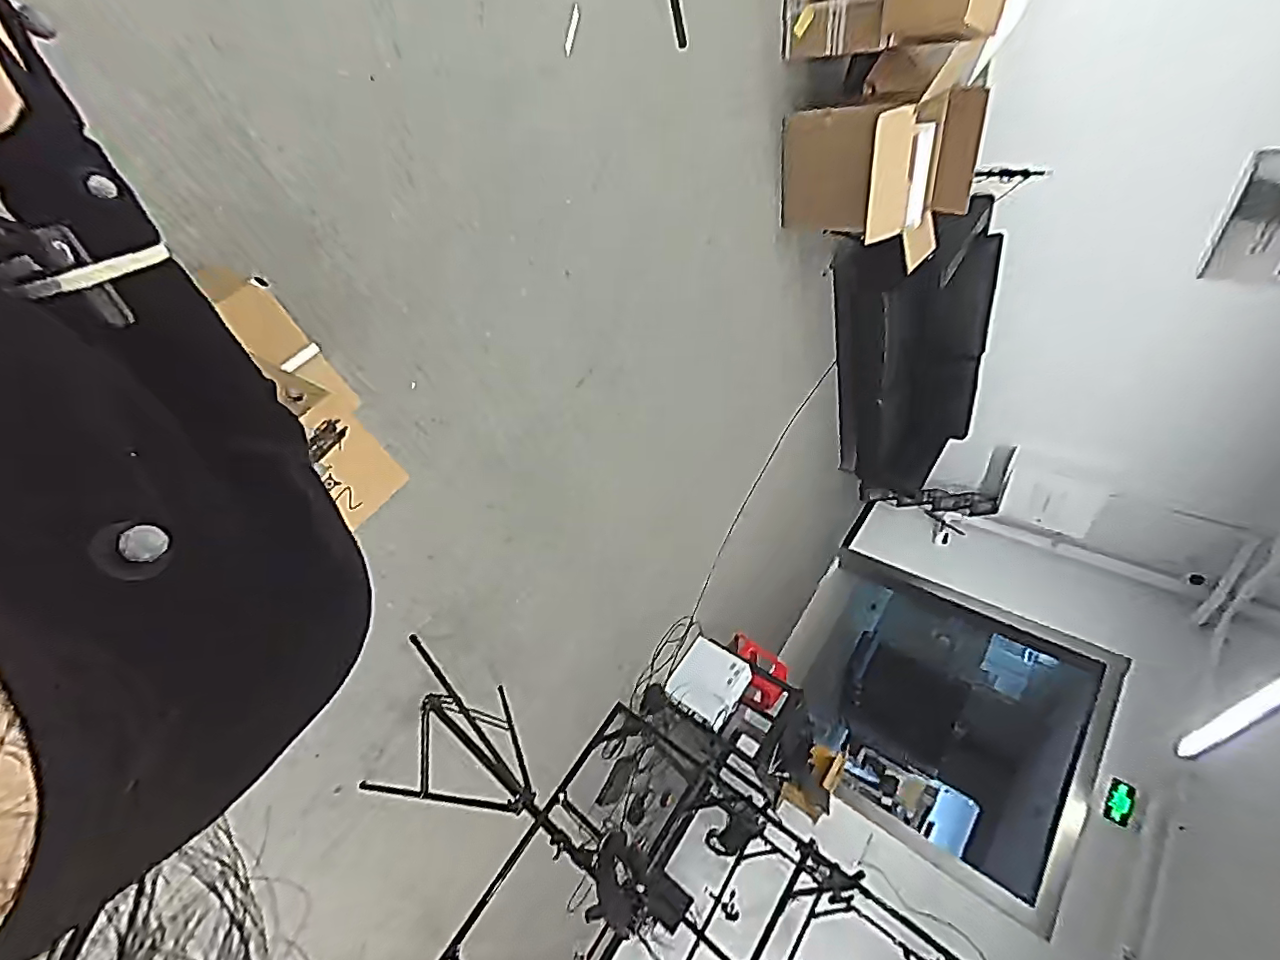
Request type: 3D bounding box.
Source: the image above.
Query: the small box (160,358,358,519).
[{"bbox_3d":[-0.604,-0.073,0.864,0.168,0.176,0.179,-51,140,-23],"label":"small box"}]
